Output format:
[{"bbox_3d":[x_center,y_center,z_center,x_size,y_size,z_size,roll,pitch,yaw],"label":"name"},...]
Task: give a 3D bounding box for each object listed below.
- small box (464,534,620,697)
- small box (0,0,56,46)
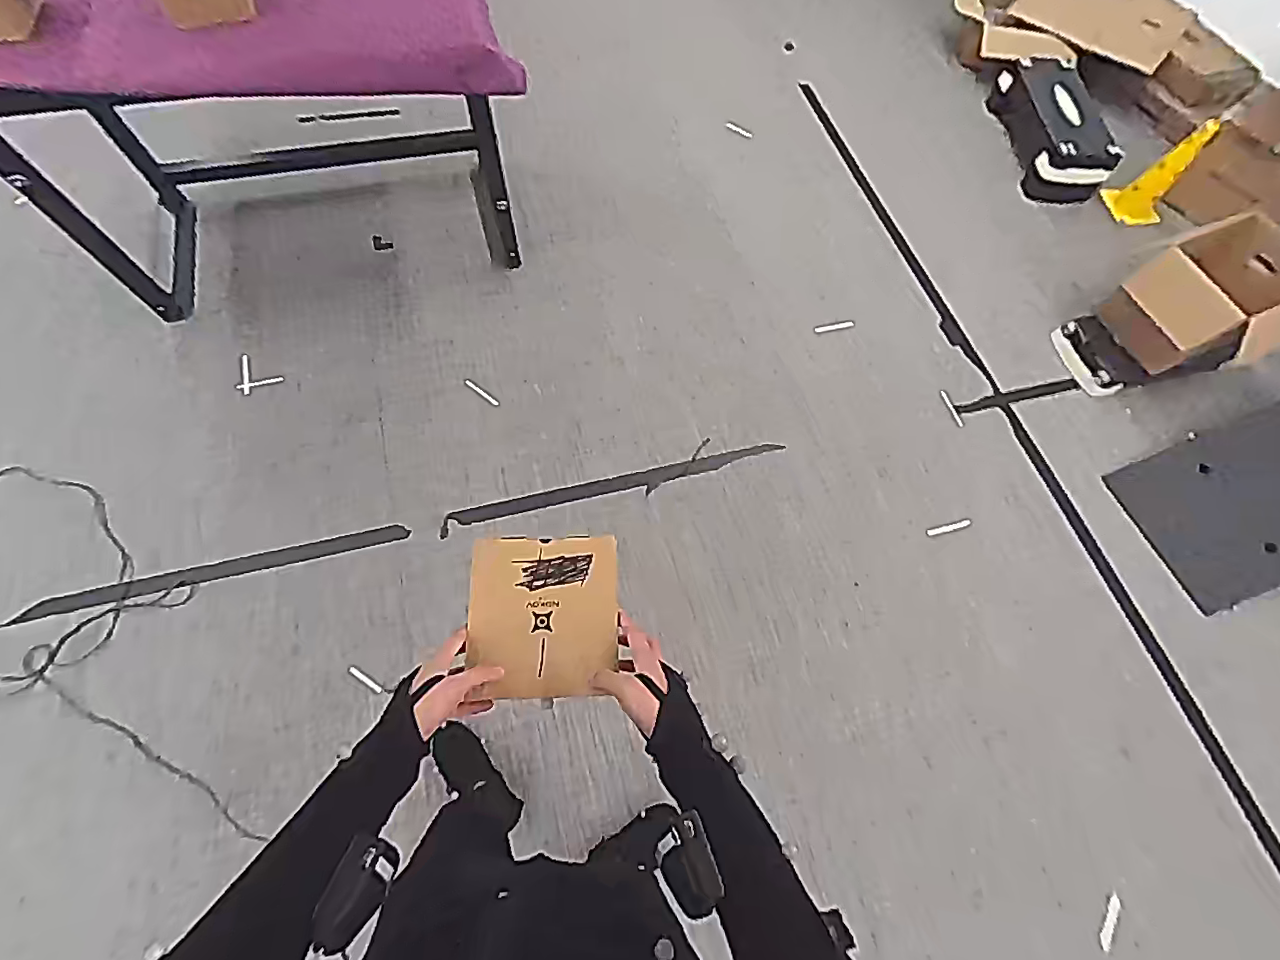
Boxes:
[{"bbox_3d":[-0.110,0.173,0.673,0.168,0.176,0.179,-1,70,-3],"label":"small box"},{"bbox_3d":[-1.434,-1.063,1.153,0.179,0.176,0.168,-10,67,-9],"label":"small box"}]
